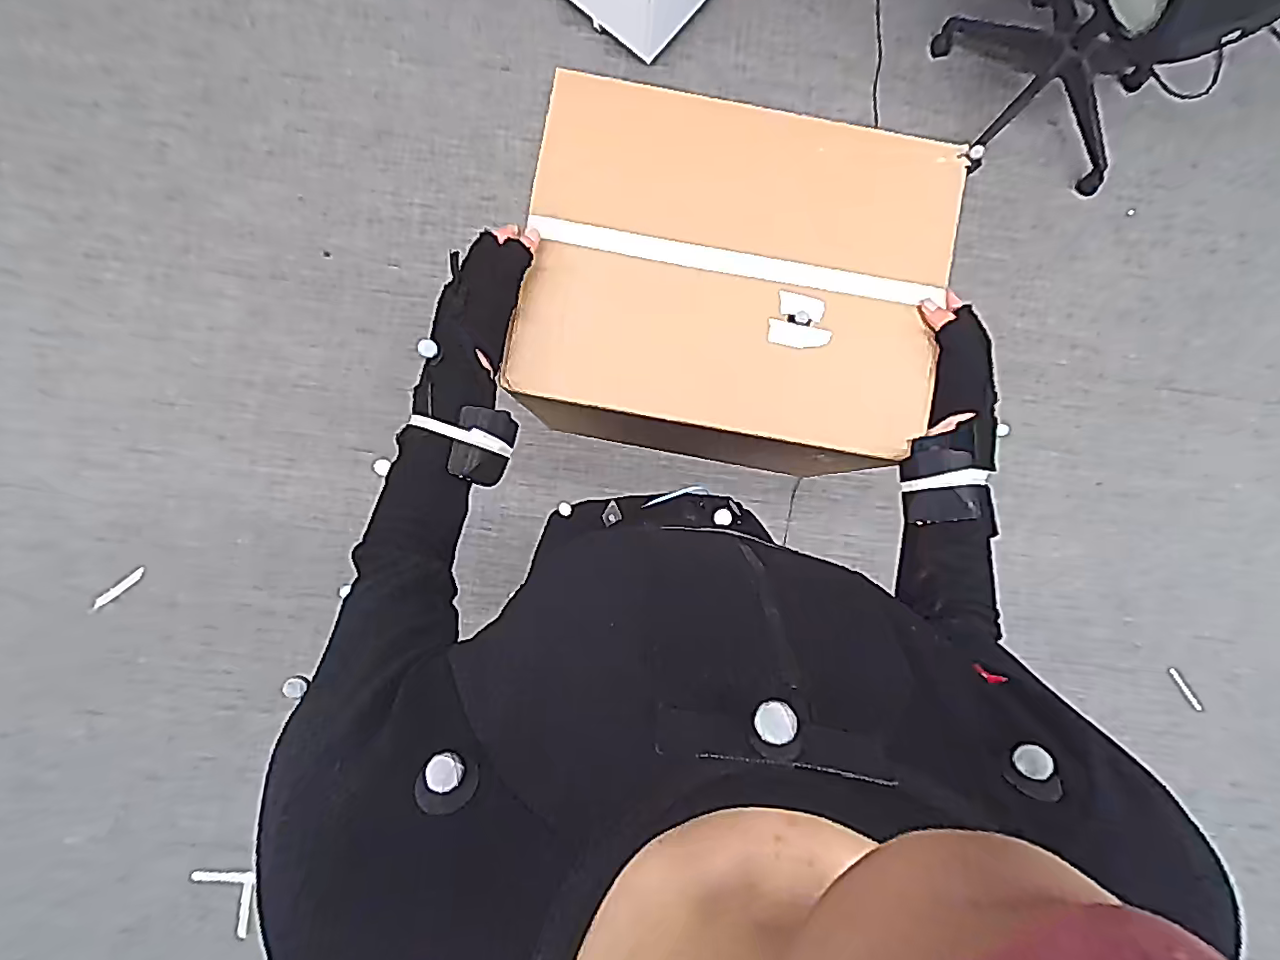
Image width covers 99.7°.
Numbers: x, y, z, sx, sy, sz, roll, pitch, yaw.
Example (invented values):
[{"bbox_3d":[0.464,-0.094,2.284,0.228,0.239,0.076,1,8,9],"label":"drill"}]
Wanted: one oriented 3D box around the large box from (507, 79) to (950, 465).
[{"bbox_3d":[0.085,-0.209,0.679,0.408,0.320,0.320,11,89,-1],"label":"large box"}]
